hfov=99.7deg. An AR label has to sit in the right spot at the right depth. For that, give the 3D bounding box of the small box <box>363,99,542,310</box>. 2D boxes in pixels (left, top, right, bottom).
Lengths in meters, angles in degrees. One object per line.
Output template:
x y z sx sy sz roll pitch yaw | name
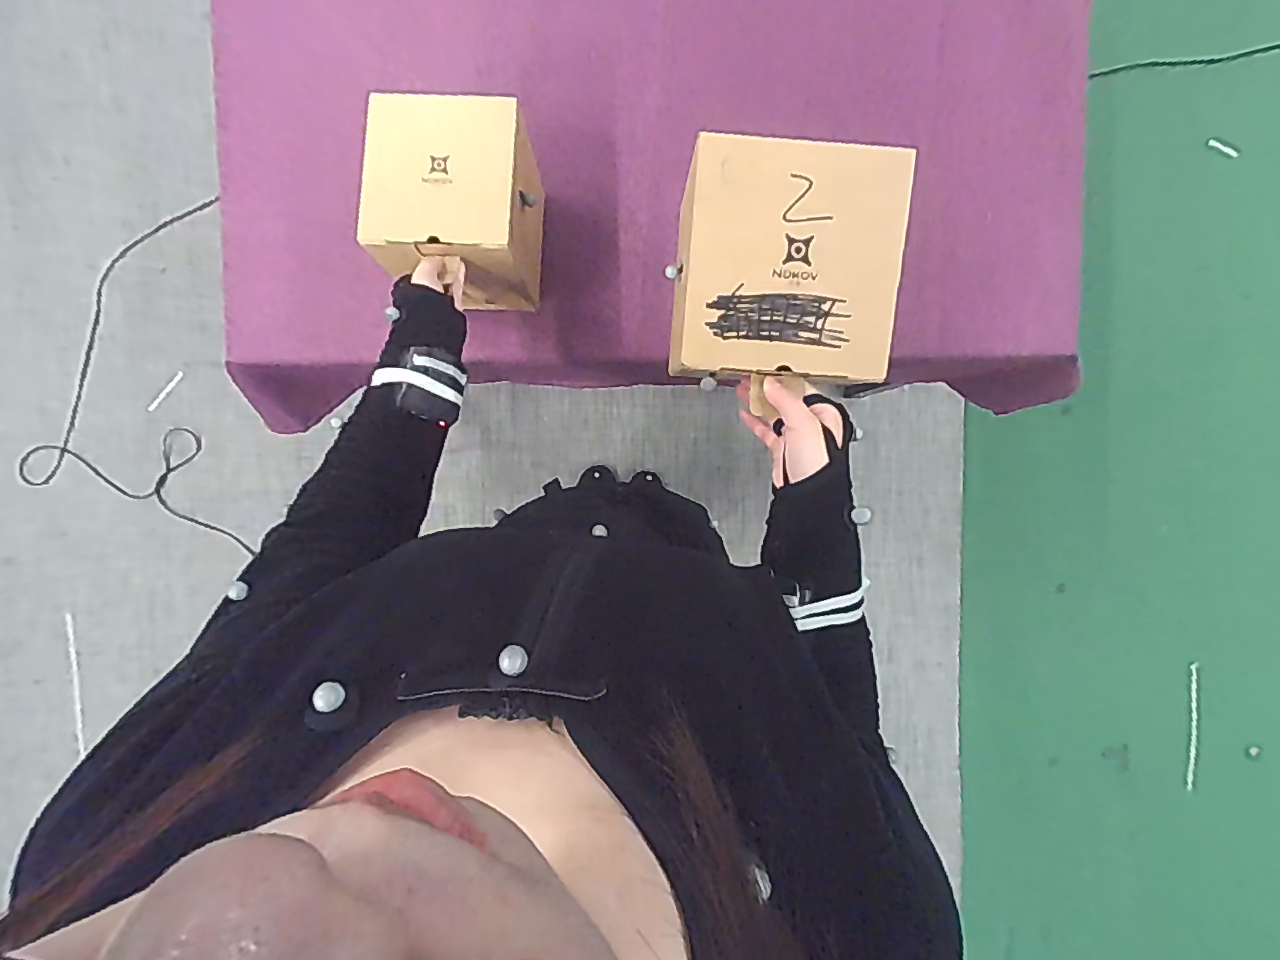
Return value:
-0.222 -0.335 0.684 0.168 0.176 0.179 2 86 0 | small box
